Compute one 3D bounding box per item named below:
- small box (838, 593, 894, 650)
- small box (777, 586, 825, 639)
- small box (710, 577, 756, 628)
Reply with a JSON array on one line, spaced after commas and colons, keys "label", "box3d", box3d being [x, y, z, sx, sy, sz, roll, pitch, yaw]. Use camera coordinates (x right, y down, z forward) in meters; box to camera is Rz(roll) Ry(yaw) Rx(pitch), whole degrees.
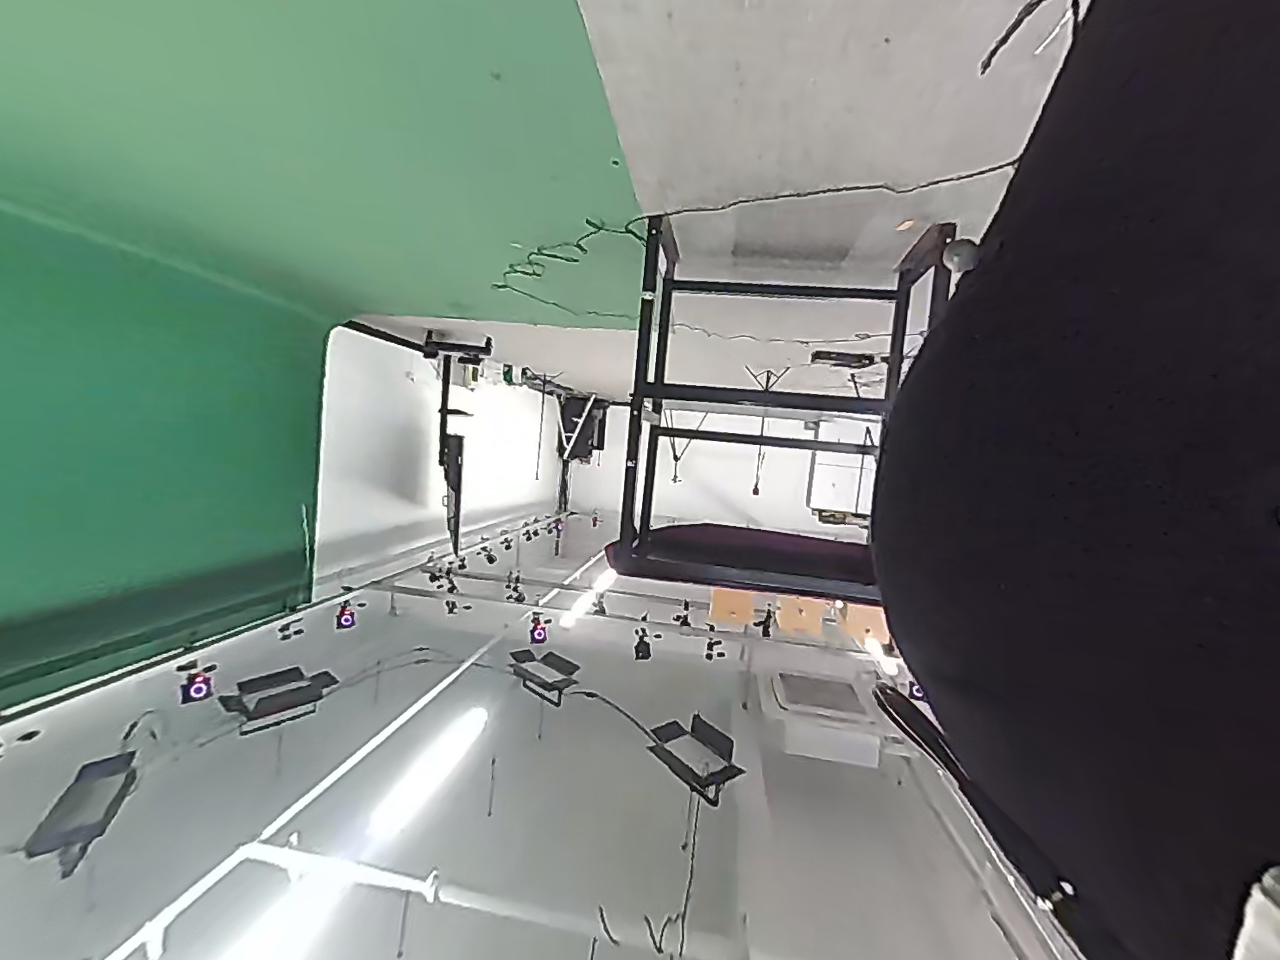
[{"label": "small box", "box3d": [0.929, 0.576, 2.223, 0.179, 0.176, 0.168, 7, -177, 10]}, {"label": "small box", "box3d": [0.672, 0.548, 2.262, 0.168, 0.176, 0.179, 7, -176, 9]}, {"label": "small box", "box3d": [0.394, 0.516, 2.303, 0.179, 0.176, 0.168, 5, -176, 8]}]
